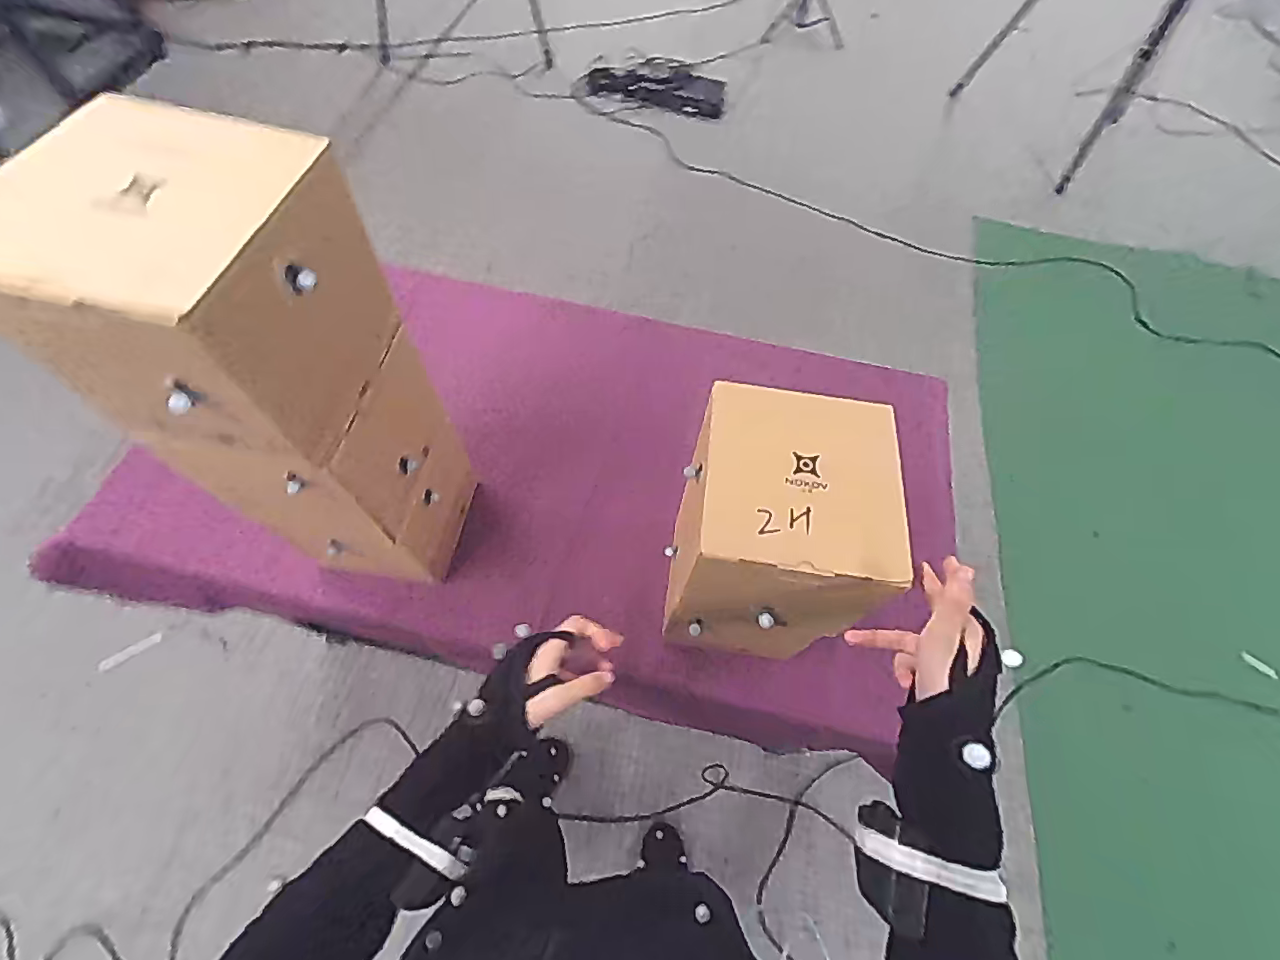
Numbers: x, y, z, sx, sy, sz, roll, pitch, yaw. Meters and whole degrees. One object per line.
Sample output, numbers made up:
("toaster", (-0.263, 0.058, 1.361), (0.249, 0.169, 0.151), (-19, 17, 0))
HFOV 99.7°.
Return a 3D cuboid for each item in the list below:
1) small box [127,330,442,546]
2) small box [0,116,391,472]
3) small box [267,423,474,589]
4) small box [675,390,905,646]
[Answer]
("small box", (-0.329, -0.047, 0.548), (0.179, 0.176, 0.168), (10, 60, 1))
("small box", (-0.317, -0.128, 0.407), (0.168, 0.176, 0.179), (13, 60, 2))
("small box", (-0.335, 0.028, 0.692), (0.179, 0.176, 0.168), (10, 61, 2))
("small box", (0.128, 0.043, 0.521), (0.168, 0.176, 0.179), (8, 60, 2))
